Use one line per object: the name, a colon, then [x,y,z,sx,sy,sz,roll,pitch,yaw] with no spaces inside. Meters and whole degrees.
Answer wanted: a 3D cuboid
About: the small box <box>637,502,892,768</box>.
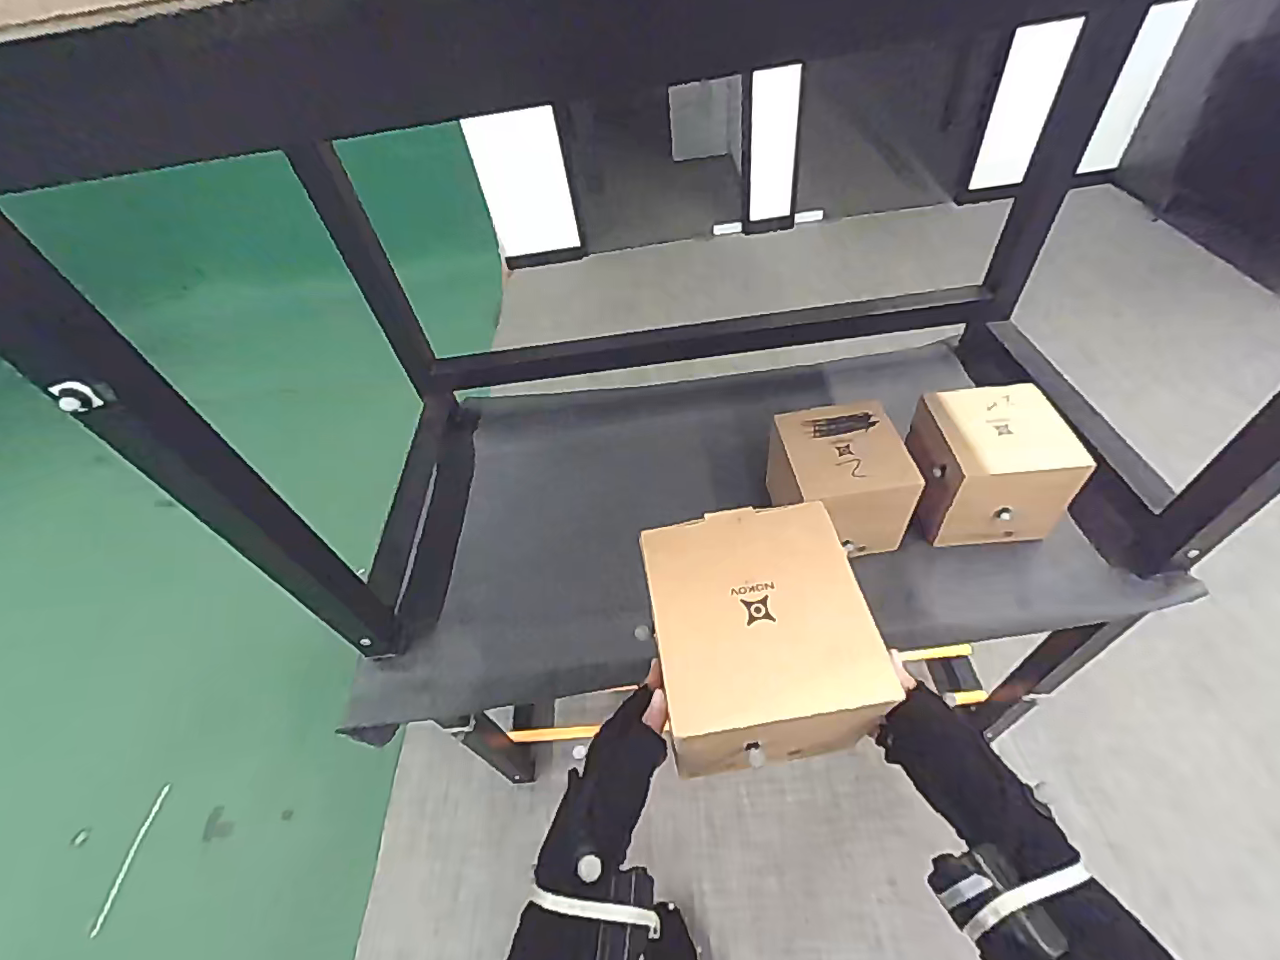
small box: [0.096,0.148,0.491,0.168,0.176,0.179,-9,52,-1]
